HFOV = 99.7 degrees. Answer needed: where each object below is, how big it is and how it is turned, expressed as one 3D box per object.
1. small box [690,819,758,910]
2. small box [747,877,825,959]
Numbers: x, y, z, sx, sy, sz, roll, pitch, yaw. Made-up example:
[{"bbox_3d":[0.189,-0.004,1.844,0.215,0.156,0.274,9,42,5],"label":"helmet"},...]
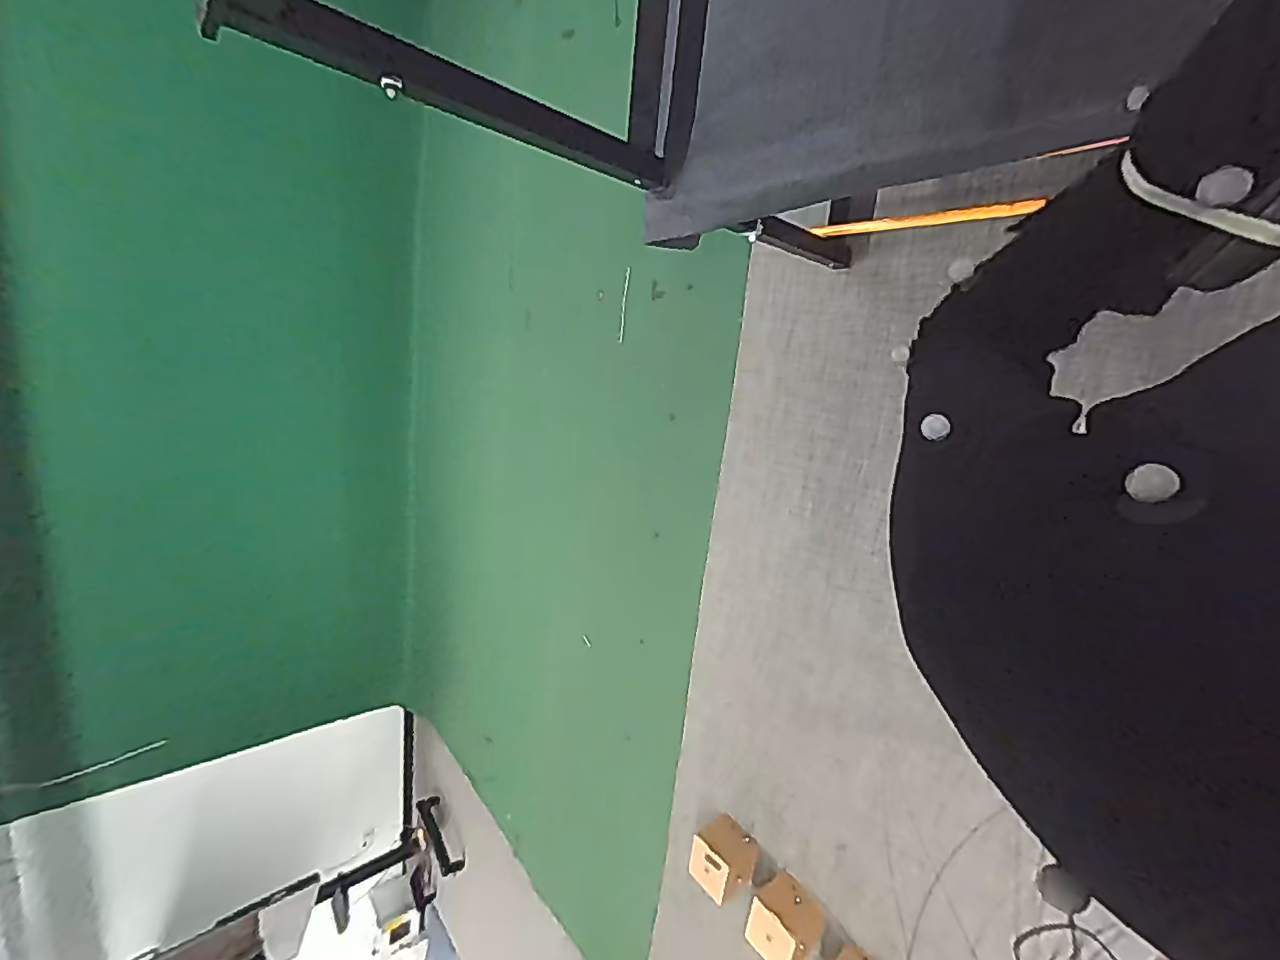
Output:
[{"bbox_3d":[0.306,1.381,1.956,0.168,0.176,0.179,22,110,46],"label":"small box"},{"bbox_3d":[0.478,1.462,1.765,0.168,0.176,0.179,23,109,46],"label":"small box"}]
